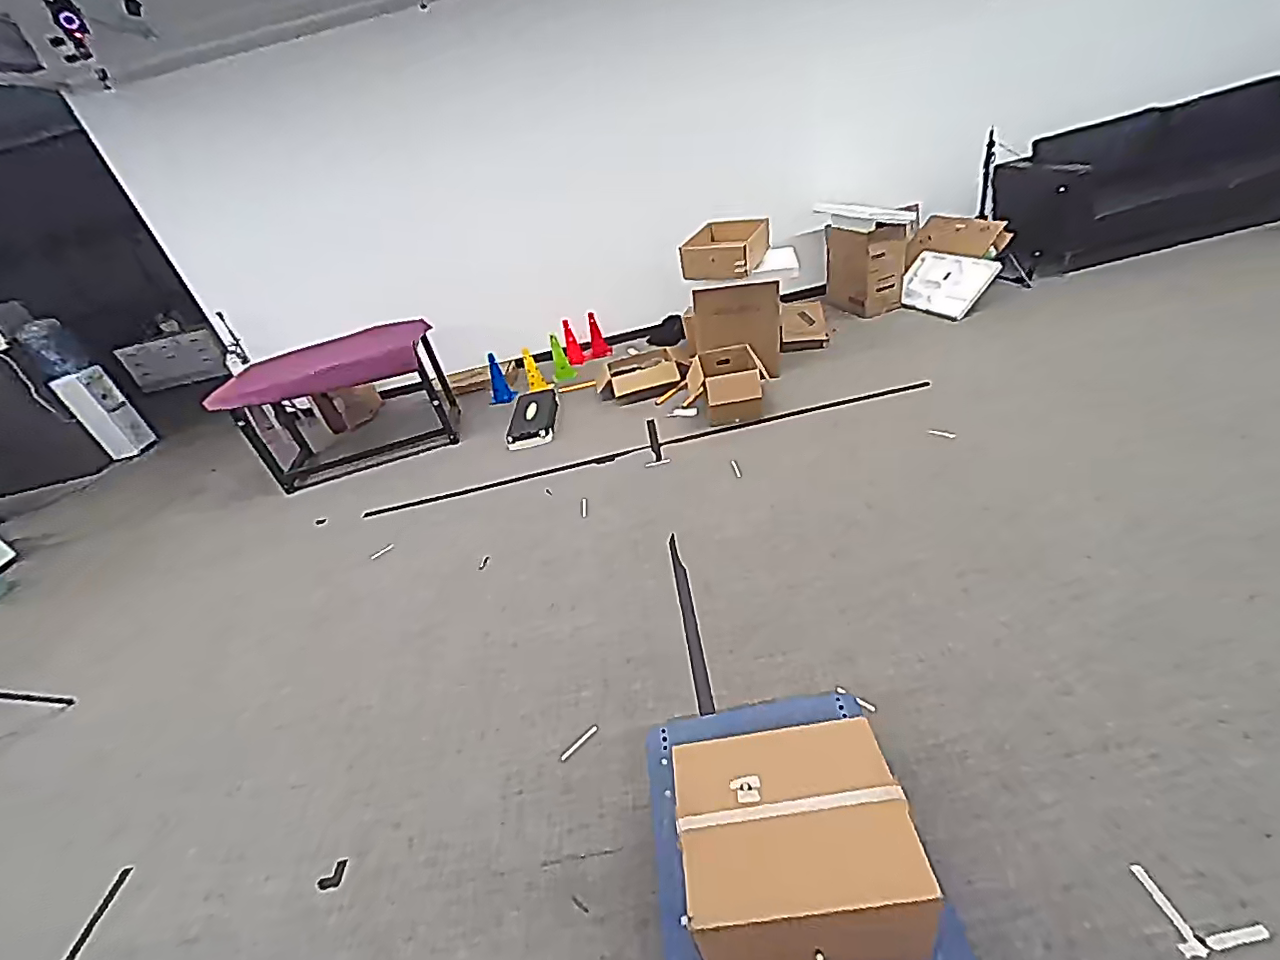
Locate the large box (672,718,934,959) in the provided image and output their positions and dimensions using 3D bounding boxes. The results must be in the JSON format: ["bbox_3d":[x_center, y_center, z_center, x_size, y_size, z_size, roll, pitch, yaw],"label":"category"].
[{"bbox_3d":[0.301,0.732,1.073,0.408,0.320,0.320,-12,32,5],"label":"large box"}]
